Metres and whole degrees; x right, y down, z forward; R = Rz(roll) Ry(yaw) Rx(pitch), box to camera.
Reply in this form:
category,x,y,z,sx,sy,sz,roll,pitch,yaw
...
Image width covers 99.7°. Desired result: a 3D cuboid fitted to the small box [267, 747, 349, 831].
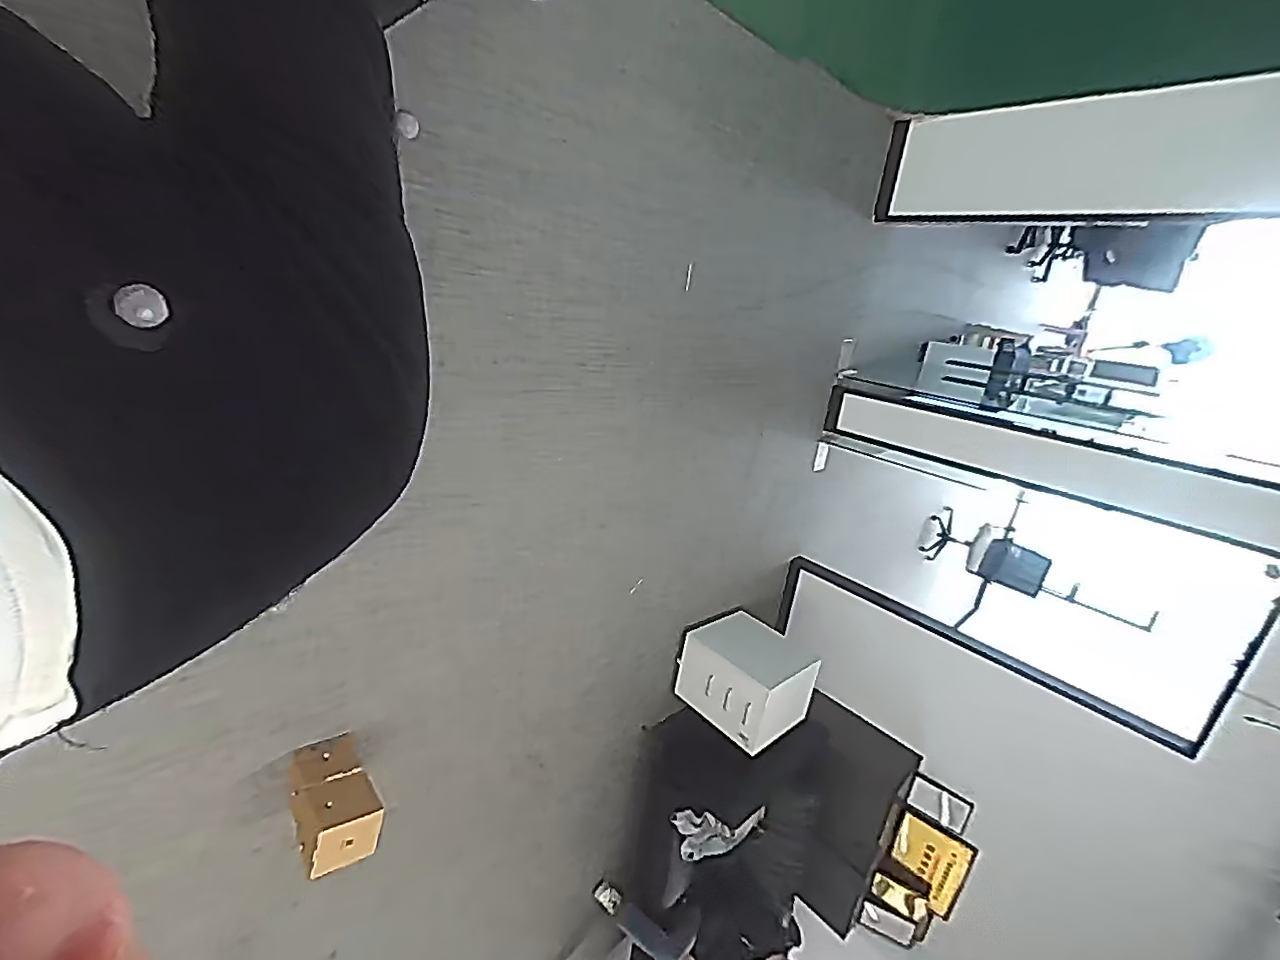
category,x,y,z,sx,sy,sz,roll,pitch,yaw
small box,-1.008,0.972,1.671,0.179,0.176,0.168,-35,132,-32

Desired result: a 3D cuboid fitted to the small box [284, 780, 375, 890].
category,x,y,z,sx,sy,sz,roll,pitch,yaw
small box,-0.903,1.016,1.565,0.179,0.176,0.168,6,106,-48
